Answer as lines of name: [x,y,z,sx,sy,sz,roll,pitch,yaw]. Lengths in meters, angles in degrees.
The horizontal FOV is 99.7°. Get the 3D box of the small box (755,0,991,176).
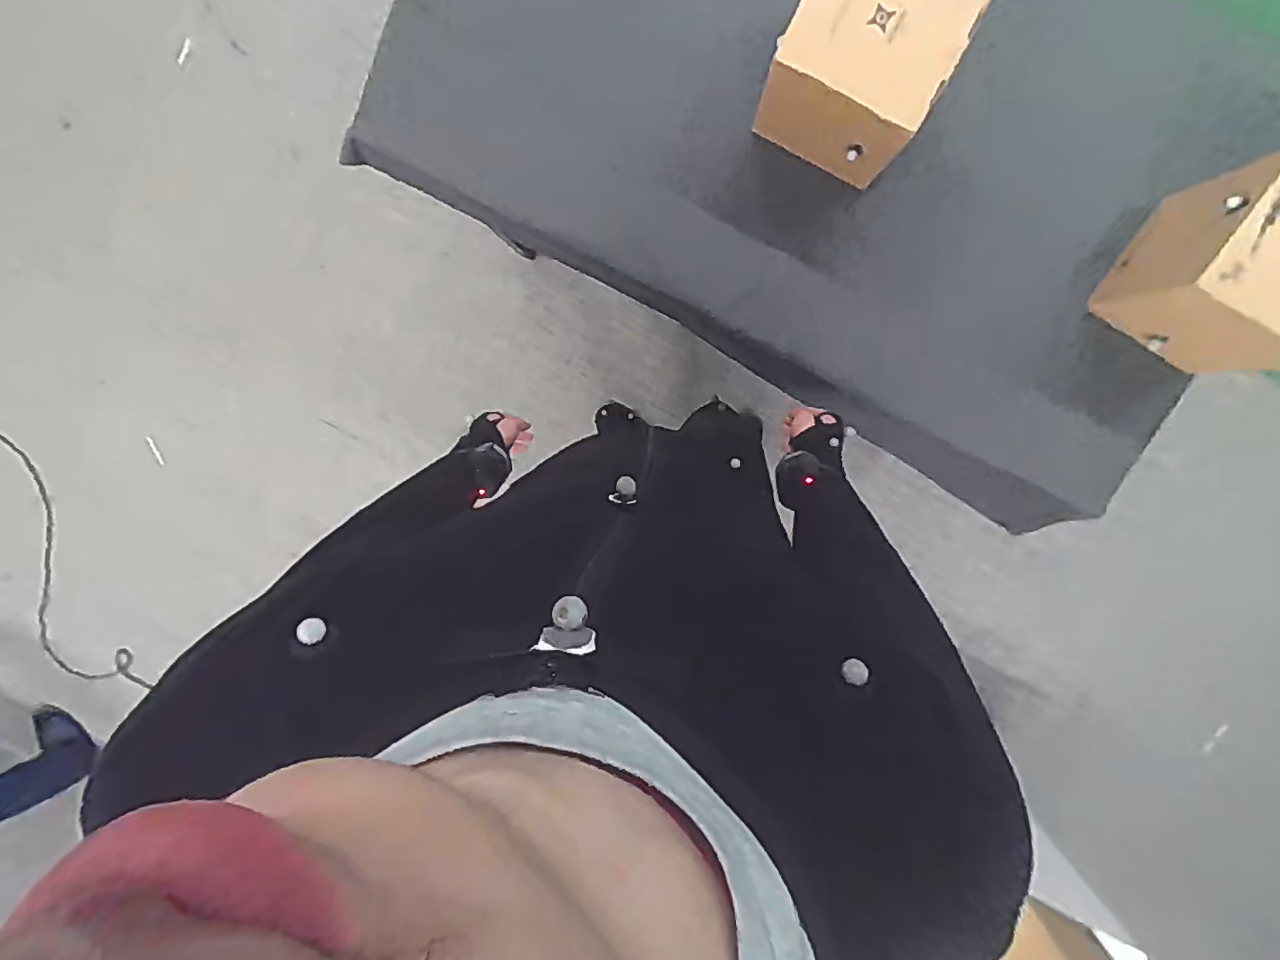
small box: [0.258,-0.493,0.637,0.179,0.176,0.168,27,99,-2]

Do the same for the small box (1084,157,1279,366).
small box: [0.718,-0.255,0.660,0.179,0.176,0.168,31,101,-4]
